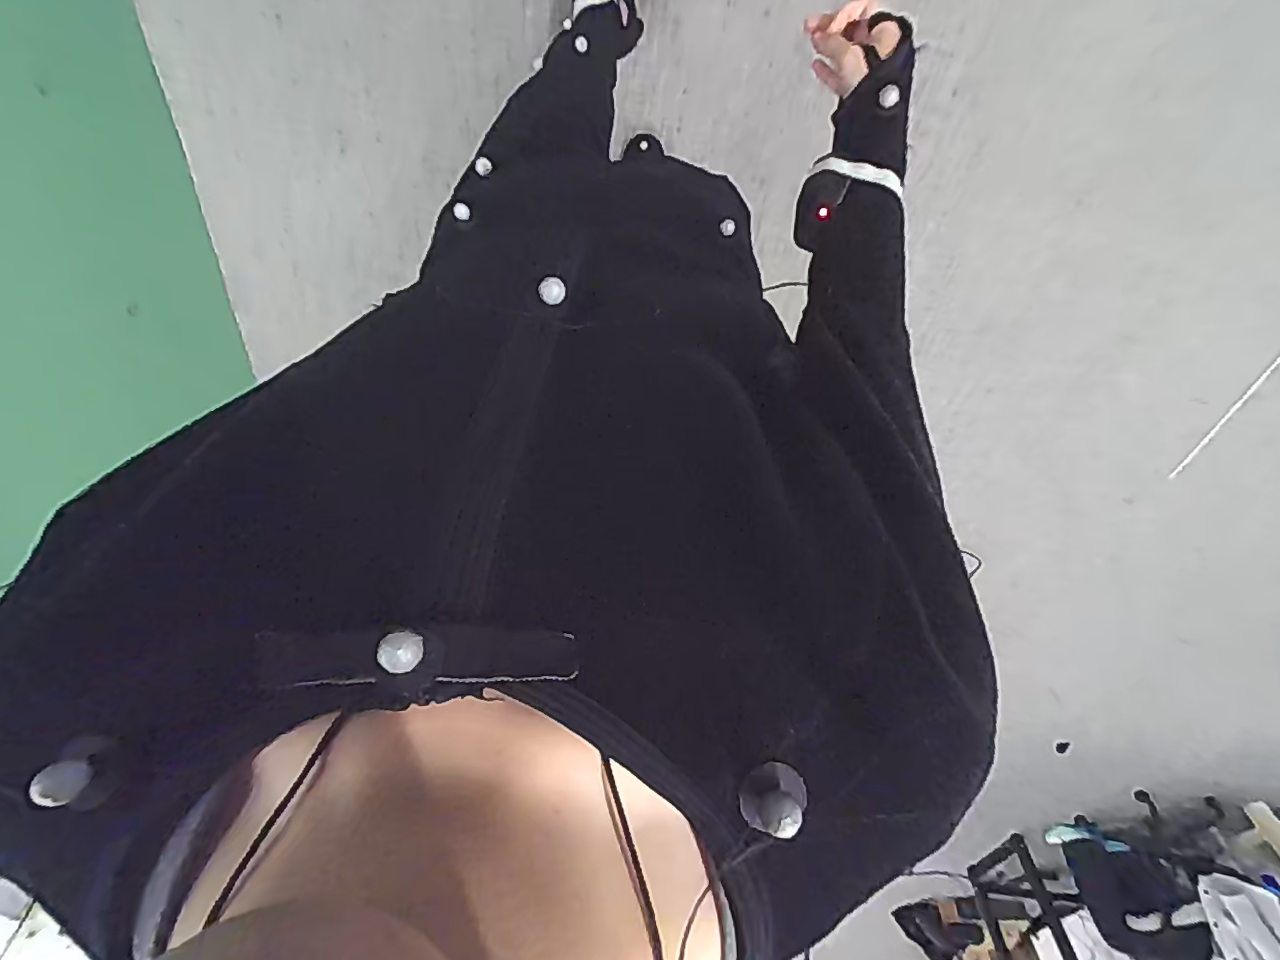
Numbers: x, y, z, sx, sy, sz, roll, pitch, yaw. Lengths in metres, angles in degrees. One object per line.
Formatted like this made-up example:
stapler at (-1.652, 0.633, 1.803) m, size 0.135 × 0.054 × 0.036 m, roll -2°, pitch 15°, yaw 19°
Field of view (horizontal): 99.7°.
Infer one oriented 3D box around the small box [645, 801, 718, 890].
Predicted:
small box at (0.111, 1.011, 1.489) m, size 0.168 × 0.176 × 0.179 m, roll 10°, pitch 128°, yaw -3°

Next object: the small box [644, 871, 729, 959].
small box at (0.113, 1.111, 1.358) m, size 0.179 × 0.176 × 0.168 m, roll 11°, pitch 128°, yaw -3°
